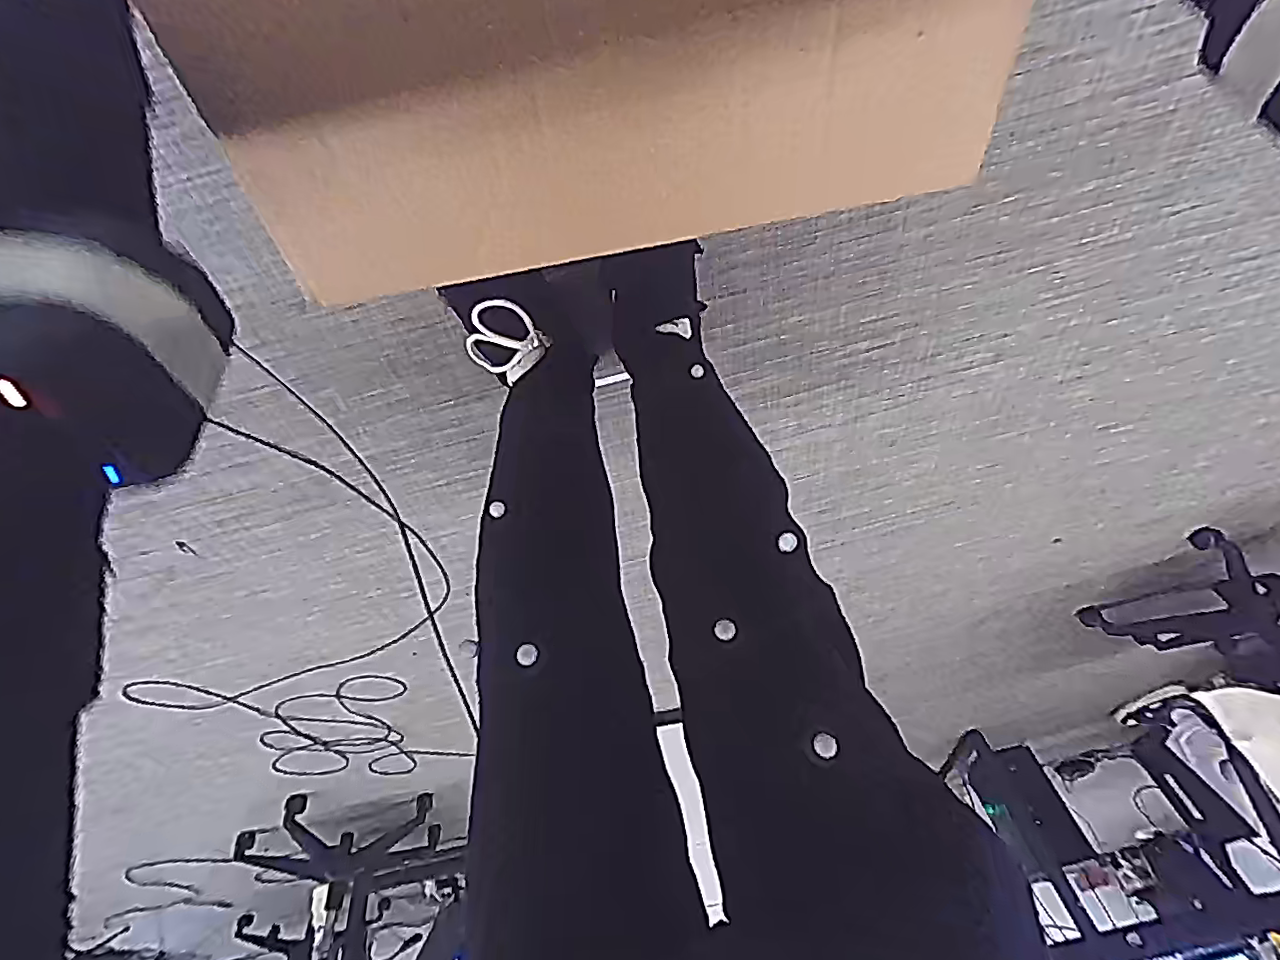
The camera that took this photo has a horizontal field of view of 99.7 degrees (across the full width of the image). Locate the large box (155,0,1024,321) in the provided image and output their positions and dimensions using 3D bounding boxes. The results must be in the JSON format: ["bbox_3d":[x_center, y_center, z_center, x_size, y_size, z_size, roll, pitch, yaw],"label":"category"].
[{"bbox_3d":[-0.035,-0.344,0.331,0.408,0.320,0.320,-12,136,-1],"label":"large box"}]
